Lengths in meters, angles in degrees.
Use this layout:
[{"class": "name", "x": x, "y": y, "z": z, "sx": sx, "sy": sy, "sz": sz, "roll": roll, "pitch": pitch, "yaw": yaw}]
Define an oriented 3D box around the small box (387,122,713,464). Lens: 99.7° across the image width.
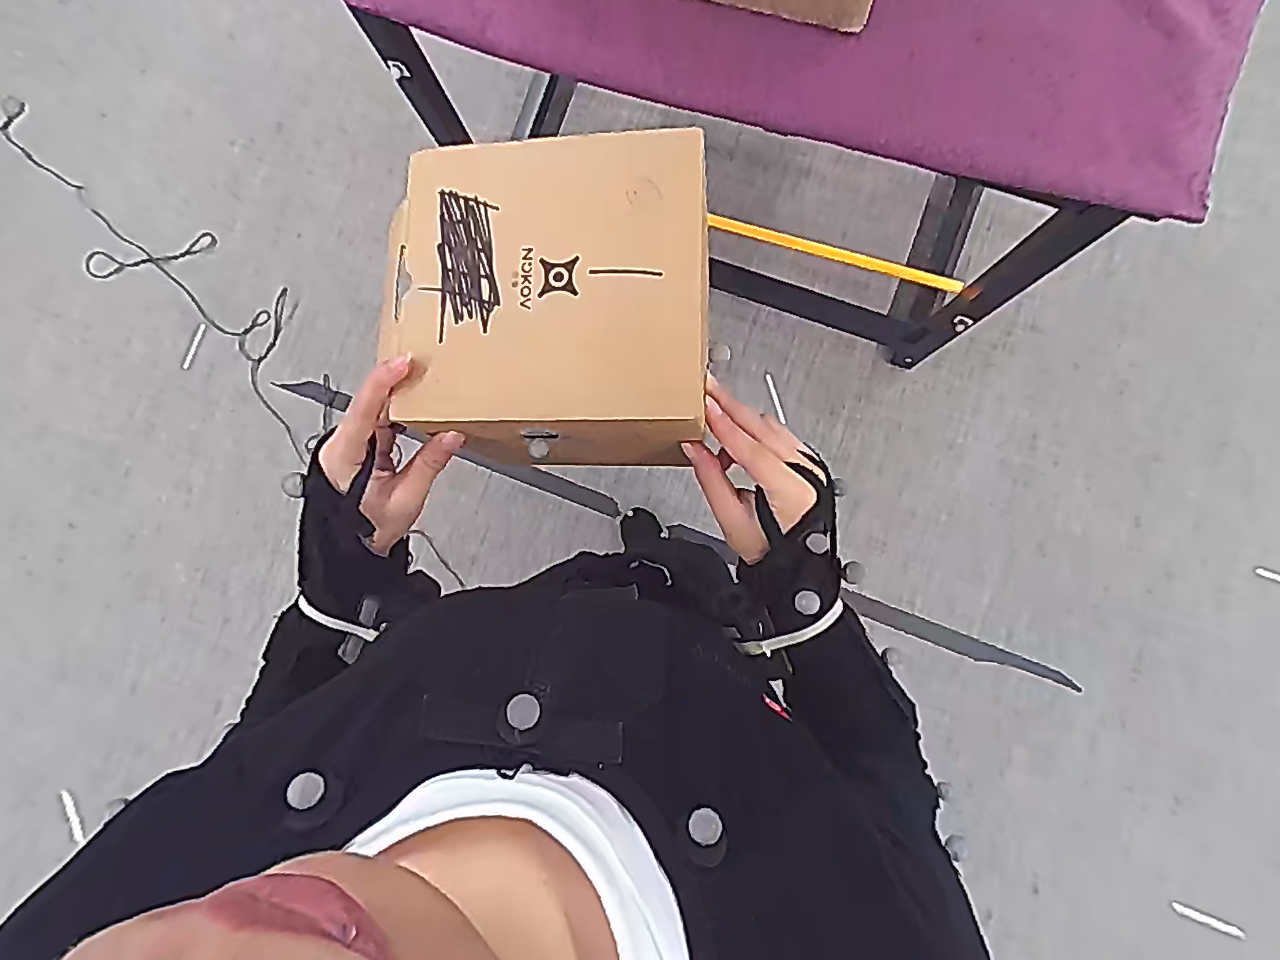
[{"class": "small box", "x": -0.040, "y": -0.104, "z": 0.373, "sx": 0.179, "sy": 0.176, "sz": 0.168, "roll": 1, "pitch": 83, "yaw": 7}]
